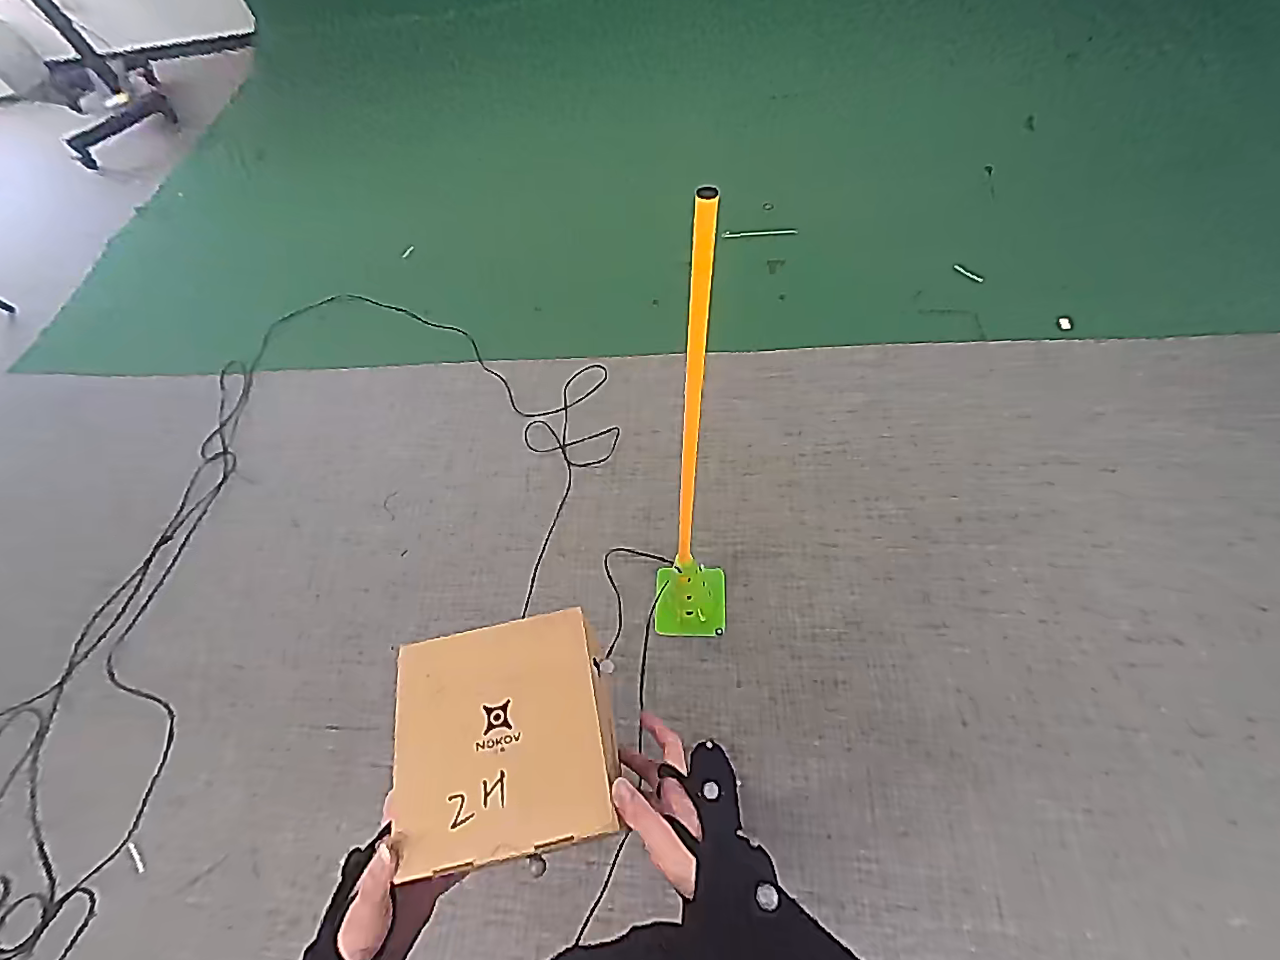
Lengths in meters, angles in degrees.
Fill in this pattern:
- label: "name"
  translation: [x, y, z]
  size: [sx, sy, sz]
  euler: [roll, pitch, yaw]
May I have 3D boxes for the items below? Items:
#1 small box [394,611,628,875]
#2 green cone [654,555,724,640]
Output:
- label: "small box"
  translation: [-0.109, 0.248, 0.508]
  size: [0.168, 0.176, 0.179]
  euler: [-11, 57, -3]
- label: "green cone"
  translation: [0.118, 0.277, 1.418]
  size: [0.202, 0.368, 0.200]
  euler: [-1, 60, 9]
